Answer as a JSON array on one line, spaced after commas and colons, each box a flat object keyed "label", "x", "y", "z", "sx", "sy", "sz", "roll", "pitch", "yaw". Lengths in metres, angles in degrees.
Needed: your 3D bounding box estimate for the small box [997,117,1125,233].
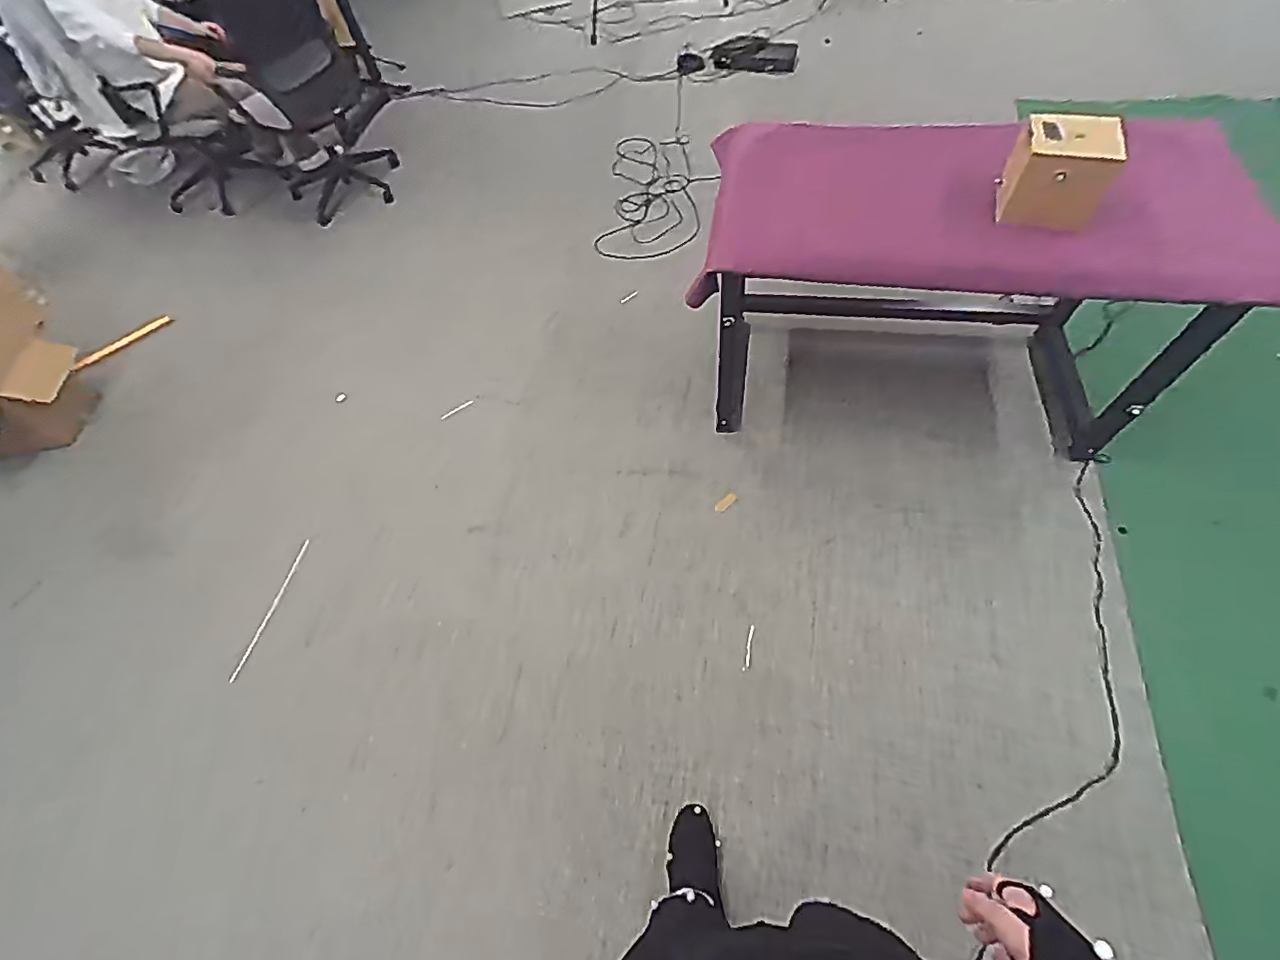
[{"label": "small box", "x": 0.936, "y": -0.686, "z": 1.221, "sx": 0.179, "sy": 0.176, "sz": 0.168, "roll": 14, "pitch": 62, "yaw": 14}]
